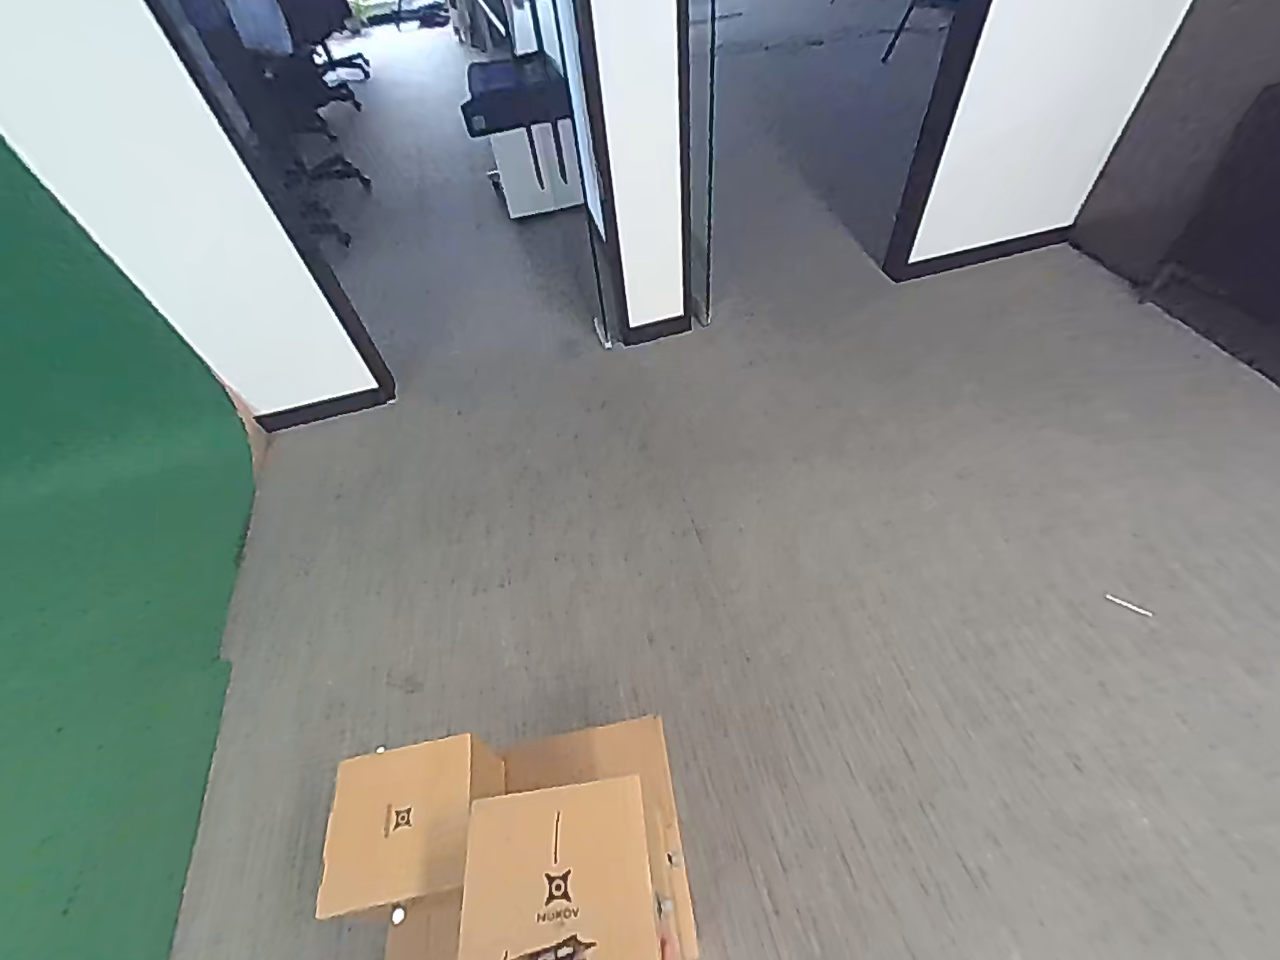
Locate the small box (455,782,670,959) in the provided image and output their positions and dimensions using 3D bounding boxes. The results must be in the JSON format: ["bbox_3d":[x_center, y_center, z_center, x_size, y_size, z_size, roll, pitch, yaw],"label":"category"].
[{"bbox_3d":[-0.064,0.416,0.516,0.168,0.176,0.179,-9,46,0],"label":"small box"}]

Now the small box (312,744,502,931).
[{"bbox_3d":[-0.286,0.471,0.713,0.179,0.176,0.168,-11,49,-3],"label":"small box"}]

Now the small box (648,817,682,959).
[{"bbox_3d":[-0.040,0.527,0.639,0.168,0.176,0.179,-9,49,-1],"label":"small box"}]
